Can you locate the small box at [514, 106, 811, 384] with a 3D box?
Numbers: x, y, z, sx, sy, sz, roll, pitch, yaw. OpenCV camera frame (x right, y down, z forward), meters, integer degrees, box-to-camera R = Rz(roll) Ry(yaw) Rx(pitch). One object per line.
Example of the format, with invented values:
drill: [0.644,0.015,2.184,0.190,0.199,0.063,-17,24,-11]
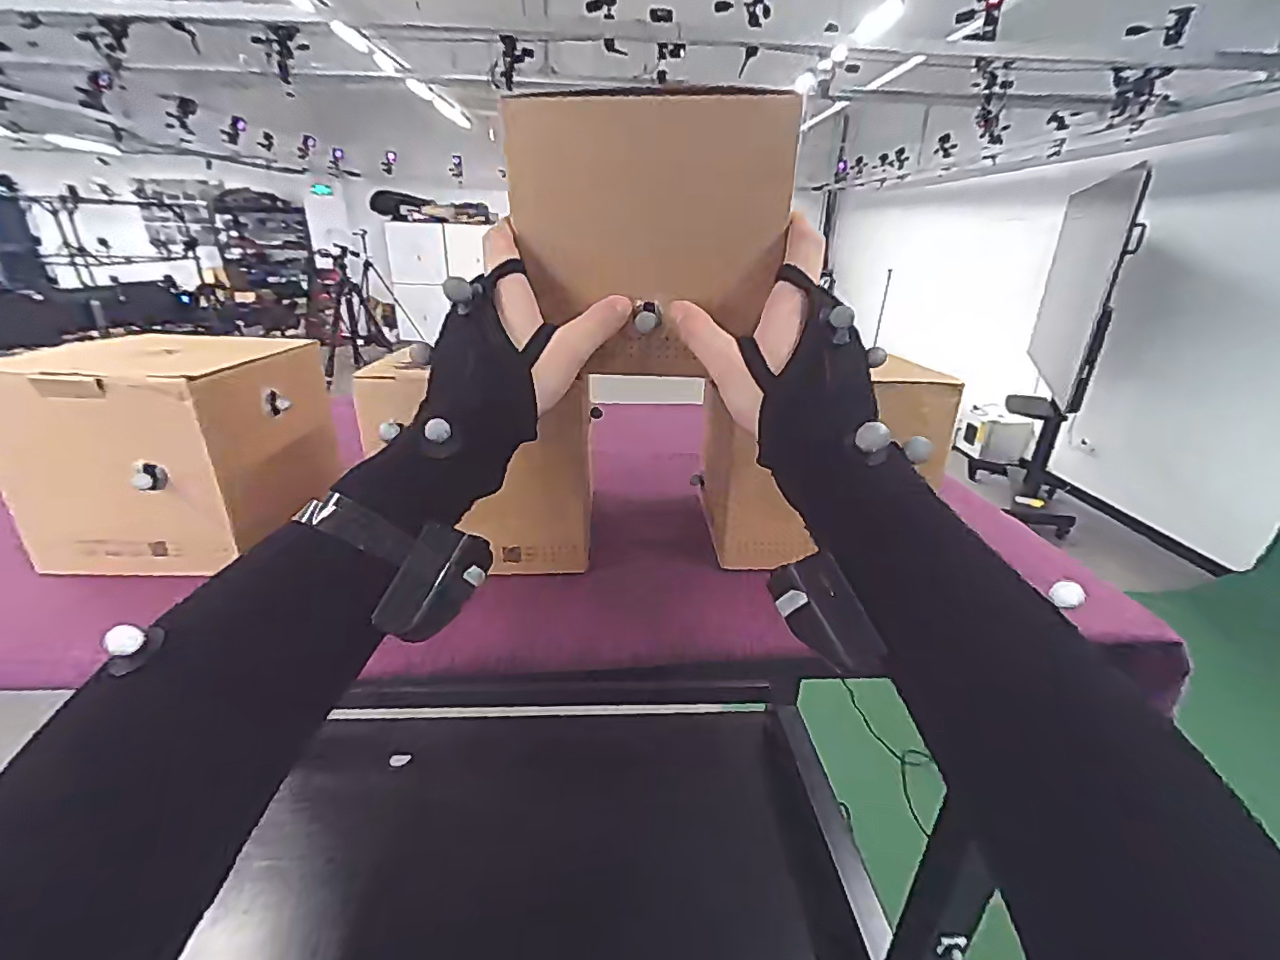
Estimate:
small box: [0.018,-0.180,0.420,0.179,0.176,0.168,3,29,4]

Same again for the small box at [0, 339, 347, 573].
small box: [-0.393,-0.029,0.491,0.168,0.176,0.179,2,22,-2]
